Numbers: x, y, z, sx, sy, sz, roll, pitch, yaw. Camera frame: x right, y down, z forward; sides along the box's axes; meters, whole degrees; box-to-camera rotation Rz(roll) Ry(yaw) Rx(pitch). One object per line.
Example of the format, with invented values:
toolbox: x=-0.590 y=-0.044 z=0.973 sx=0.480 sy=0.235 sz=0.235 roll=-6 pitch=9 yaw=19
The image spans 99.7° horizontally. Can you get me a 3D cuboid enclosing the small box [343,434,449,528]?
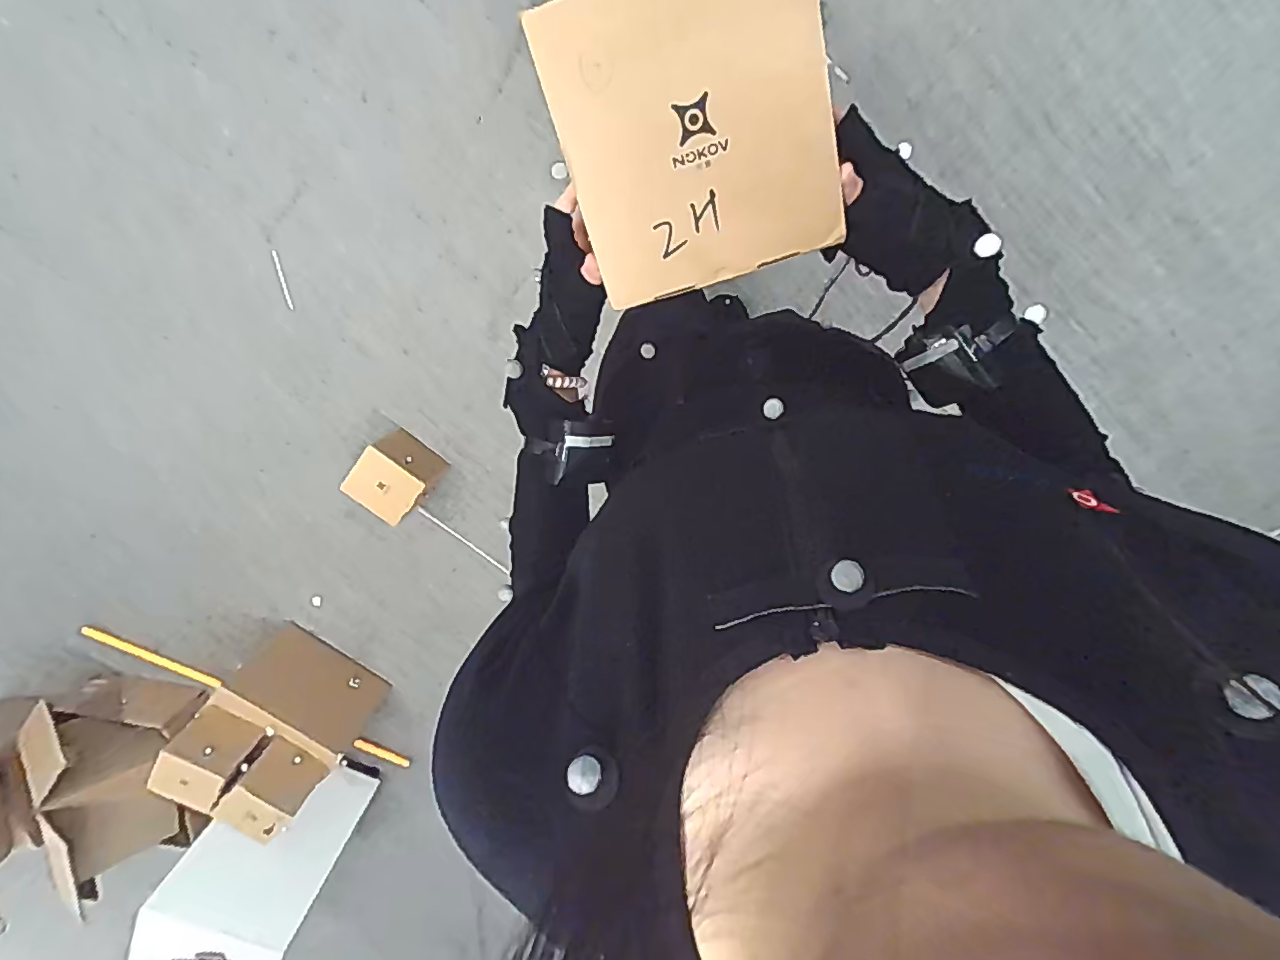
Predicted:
small box: x=-0.663 y=-0.007 z=1.486 sx=0.179 sy=0.176 sz=0.168 roll=38 pitch=109 yaw=-12

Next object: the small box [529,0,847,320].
small box: x=0.037 y=-0.238 z=0.400 sx=0.168 sy=0.176 sz=0.179 roll=-14 pitch=116 yaw=9
